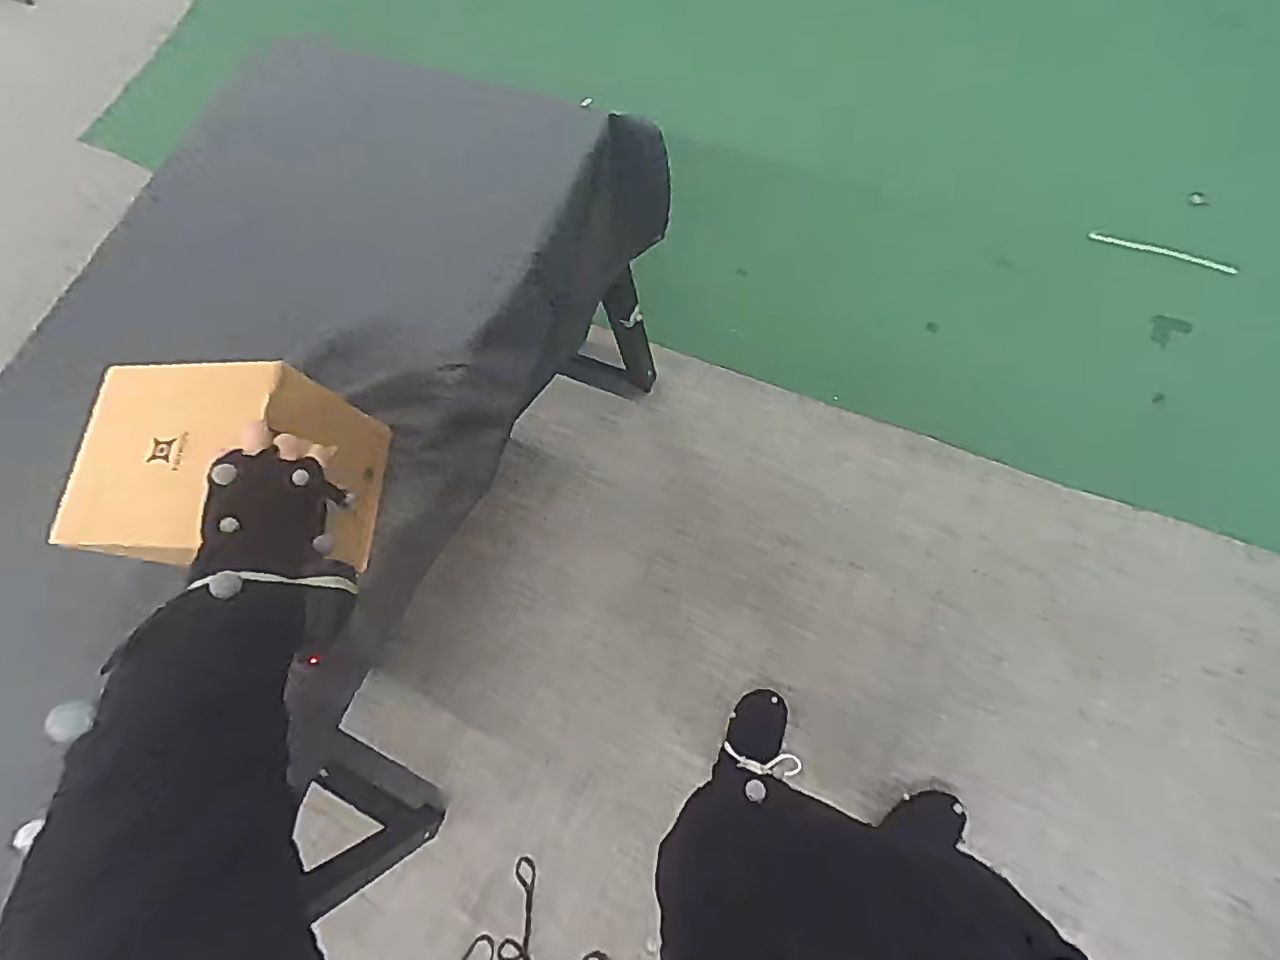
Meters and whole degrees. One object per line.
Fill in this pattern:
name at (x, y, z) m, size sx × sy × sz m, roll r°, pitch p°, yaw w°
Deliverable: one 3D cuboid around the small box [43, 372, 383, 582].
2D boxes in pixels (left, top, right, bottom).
small box at (-0.391, 0.009, 0.530) m, size 0.179 × 0.176 × 0.168 m, roll 0°, pitch 73°, yaw 8°
